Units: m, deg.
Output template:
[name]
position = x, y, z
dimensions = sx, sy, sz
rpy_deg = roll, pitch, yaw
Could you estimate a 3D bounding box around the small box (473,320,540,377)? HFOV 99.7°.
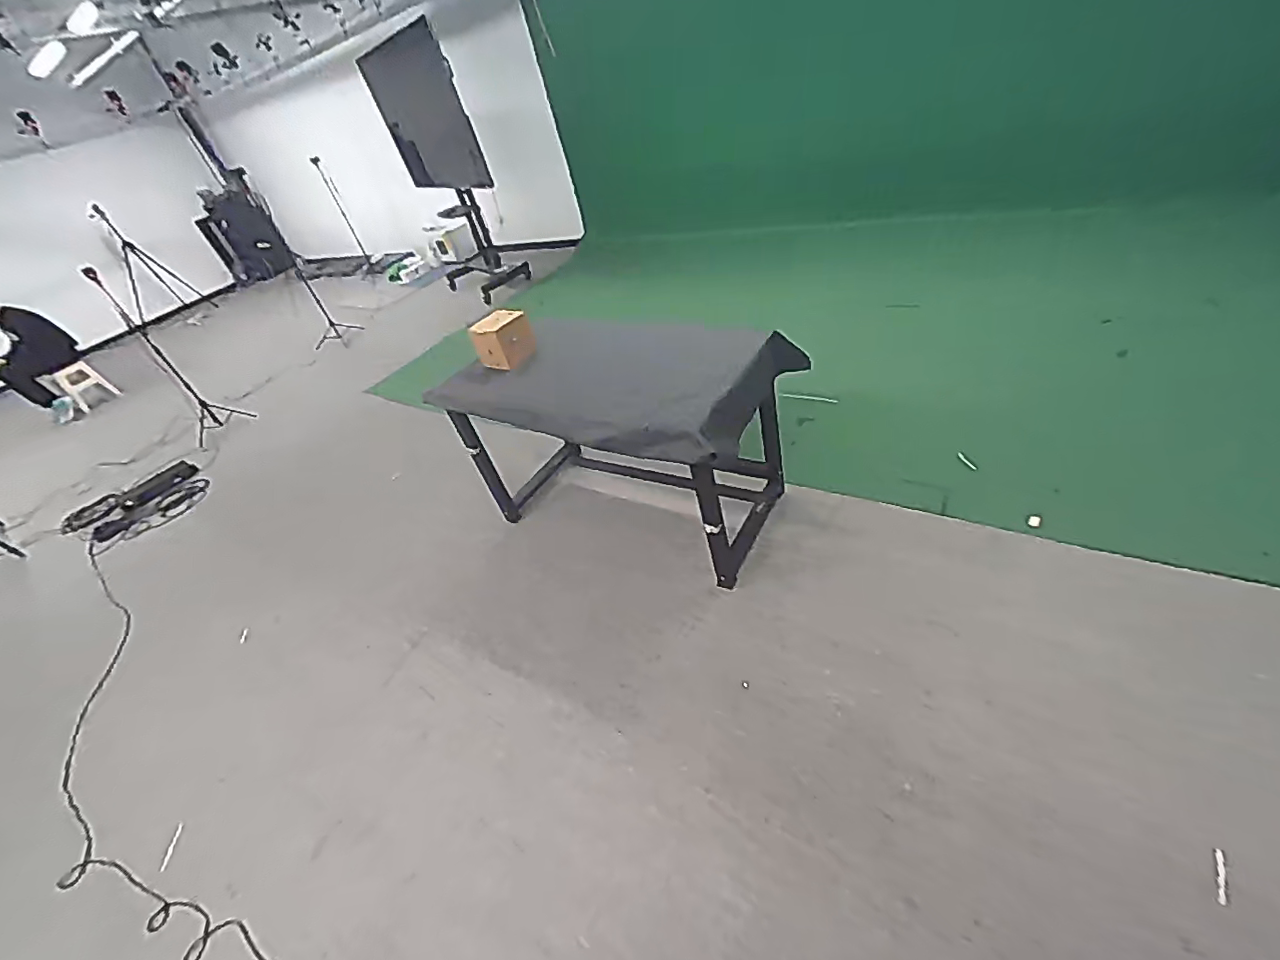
[small box]
position = -0.535, -0.533, 2.196
dimensions = 0.168, 0.176, 0.179
rpy_deg = 14, 48, 34
